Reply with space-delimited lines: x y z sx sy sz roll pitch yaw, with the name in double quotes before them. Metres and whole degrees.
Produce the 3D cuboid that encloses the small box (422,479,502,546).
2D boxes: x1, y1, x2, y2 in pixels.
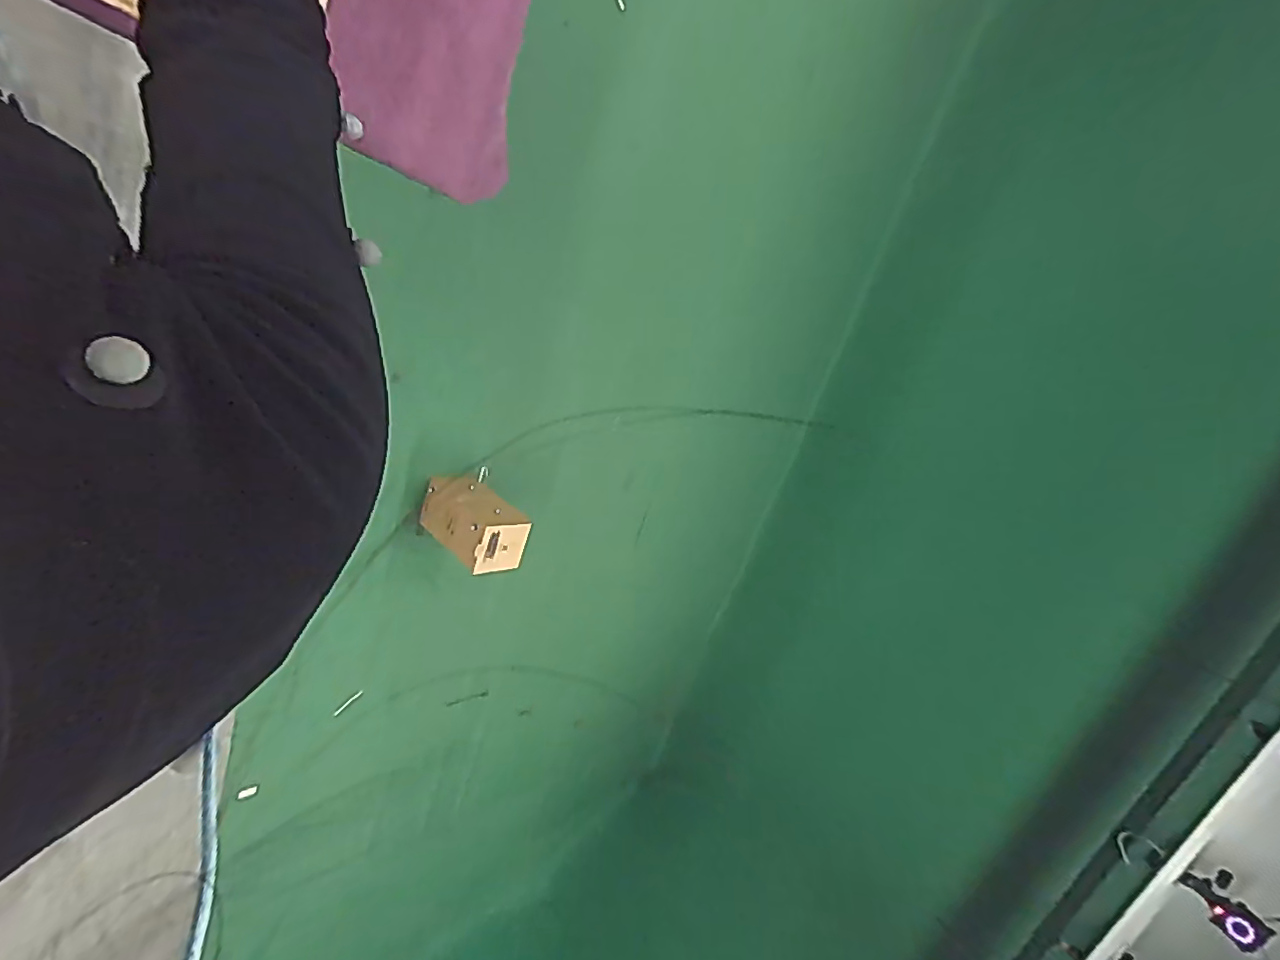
"small box" -0.597 0.105 1.805 0.179 0.176 0.168 1 114 -52
